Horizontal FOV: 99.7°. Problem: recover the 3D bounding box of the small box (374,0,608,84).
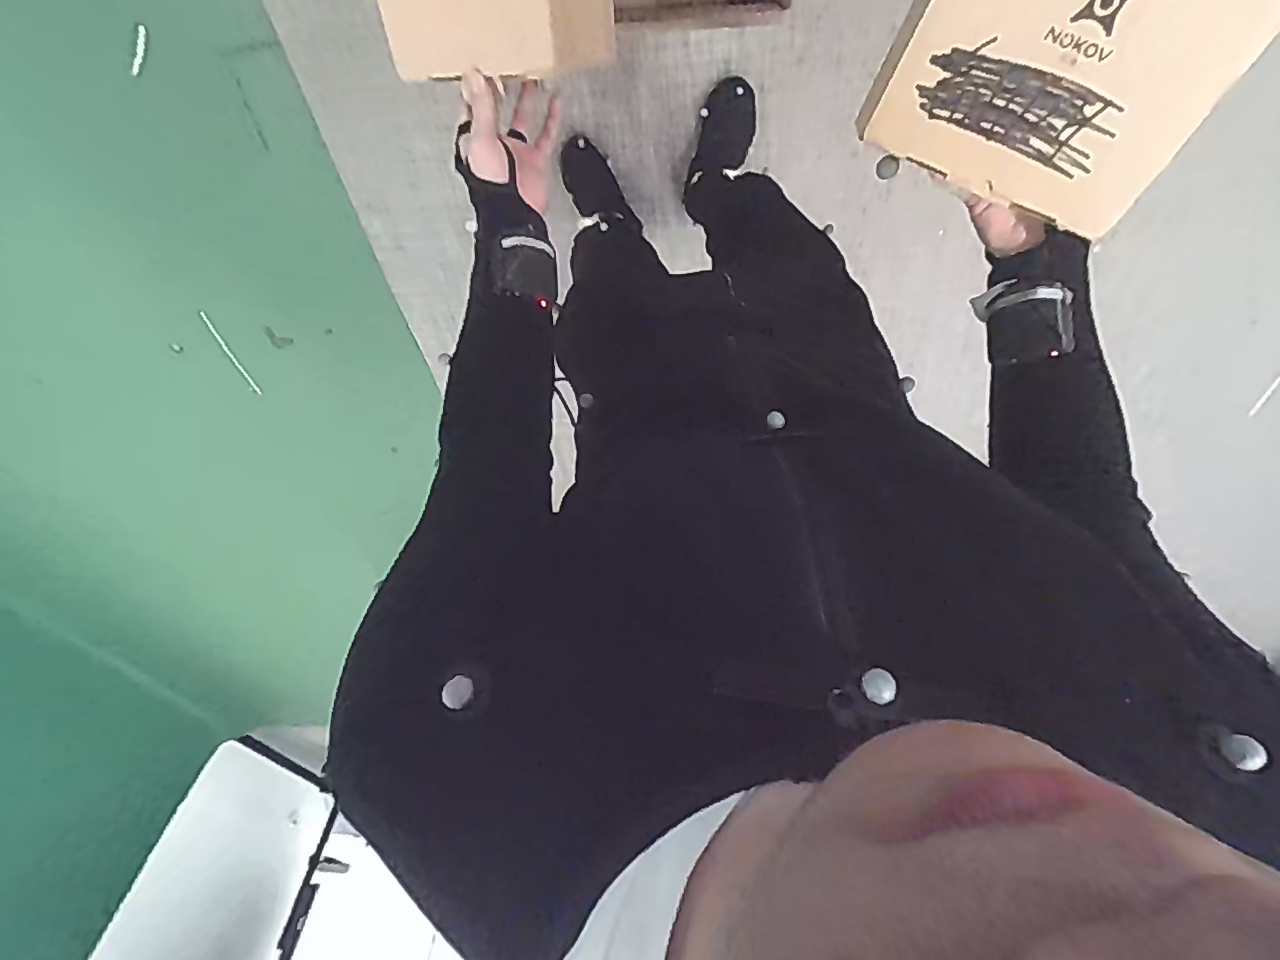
[{"bbox_3d":[-0.134,-0.483,0.498,0.168,0.176,0.179,10,132,14],"label":"small box"}]
